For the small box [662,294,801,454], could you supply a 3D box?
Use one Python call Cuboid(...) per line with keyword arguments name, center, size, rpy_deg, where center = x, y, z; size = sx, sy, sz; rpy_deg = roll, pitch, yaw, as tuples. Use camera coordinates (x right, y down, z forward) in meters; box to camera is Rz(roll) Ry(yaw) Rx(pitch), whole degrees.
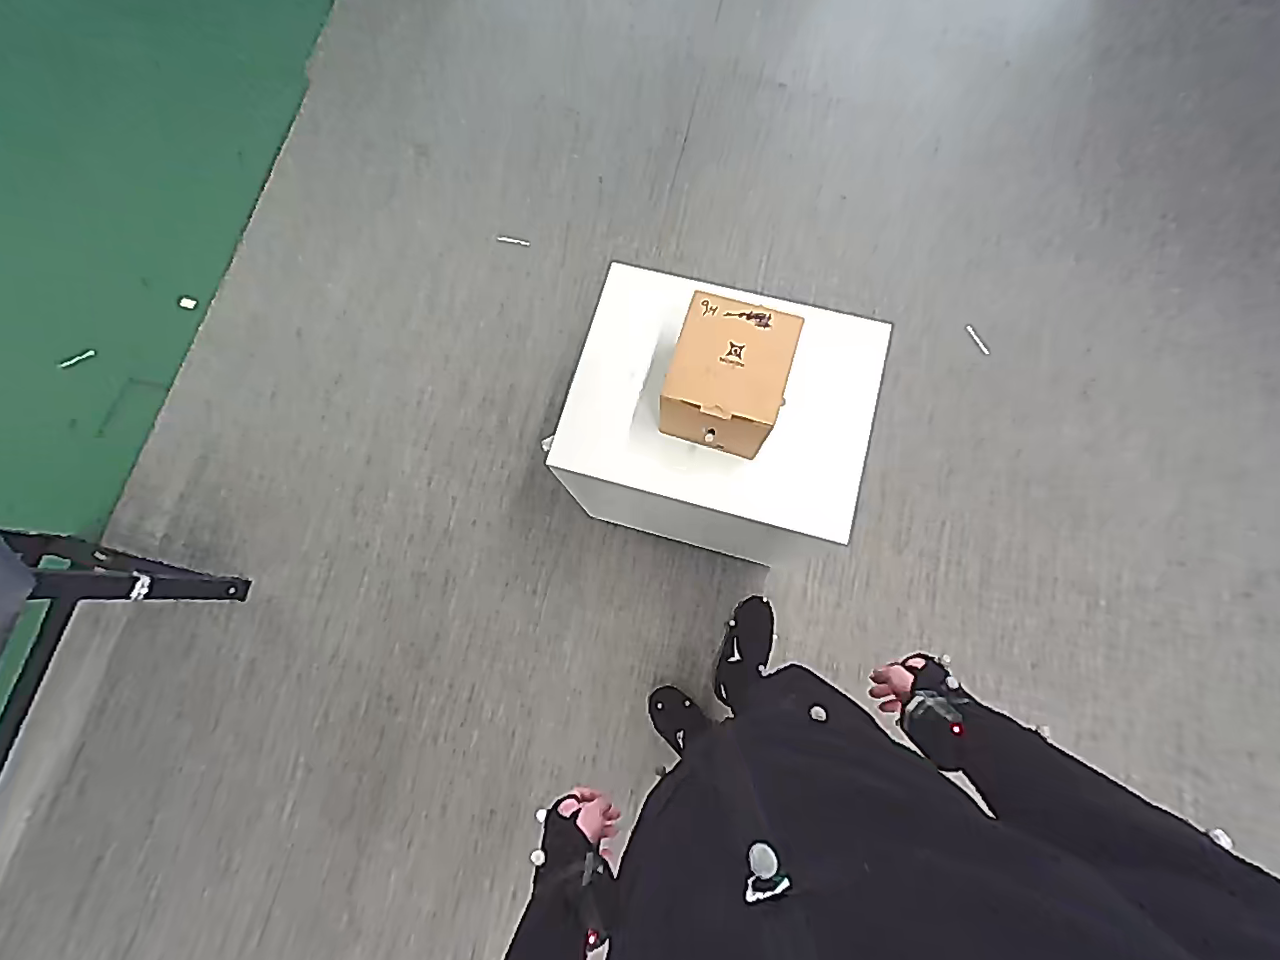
Cuboid(name="small box", center=(0.138, -0.156, 0.849), size=(0.168, 0.176, 0.179), rpy_deg=(15, 77, 6))
